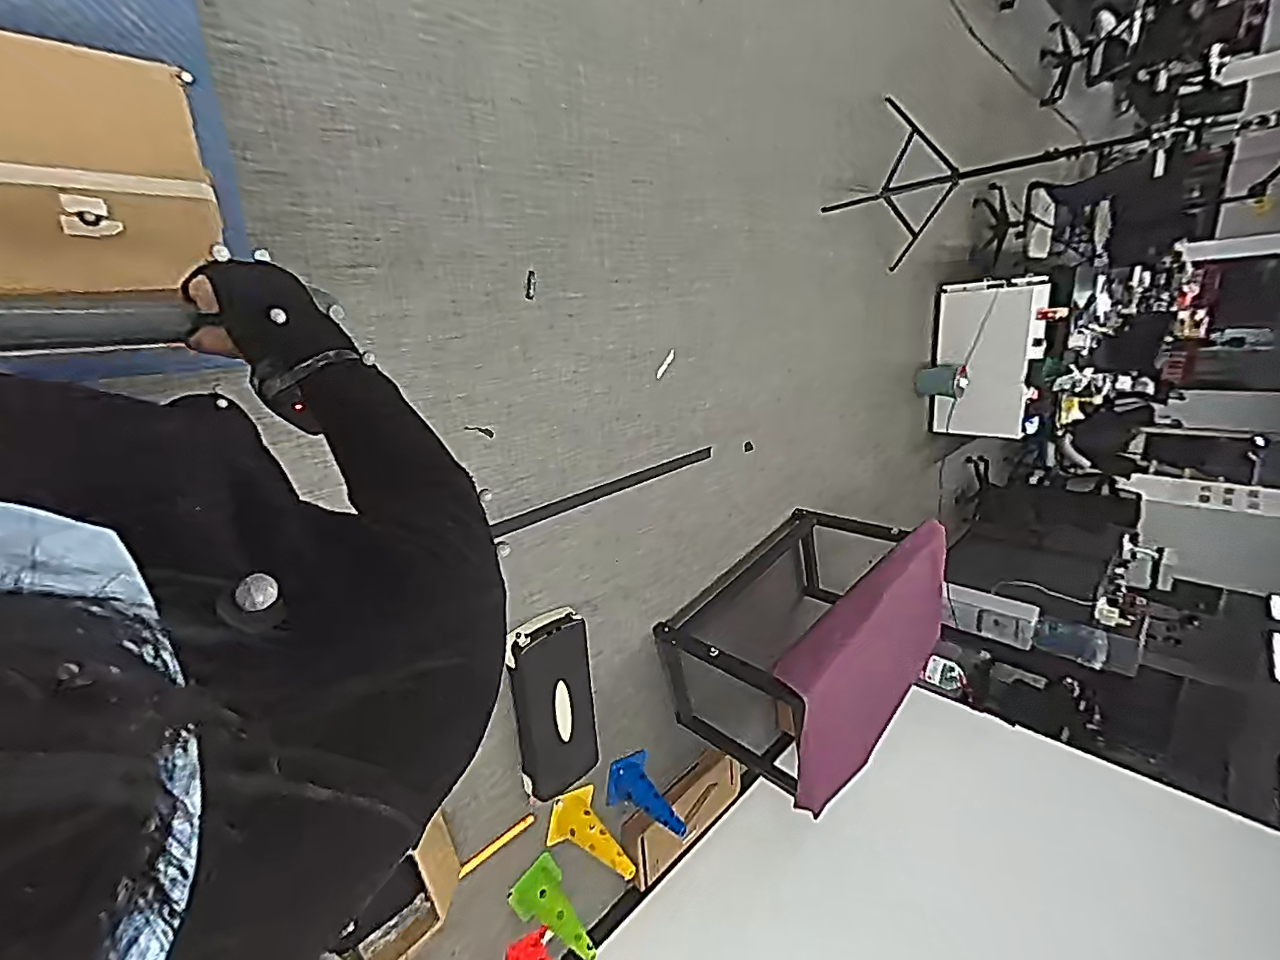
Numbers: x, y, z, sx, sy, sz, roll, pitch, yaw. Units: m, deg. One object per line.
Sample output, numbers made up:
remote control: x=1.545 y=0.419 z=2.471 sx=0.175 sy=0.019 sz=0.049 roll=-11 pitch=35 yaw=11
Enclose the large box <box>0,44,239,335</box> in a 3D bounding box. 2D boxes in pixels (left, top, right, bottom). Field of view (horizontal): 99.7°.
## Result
large box: x=-0.858 y=-0.371 z=0.747 sx=0.408 sy=0.320 sz=0.320 roll=-17 pitch=111 yaw=-41
